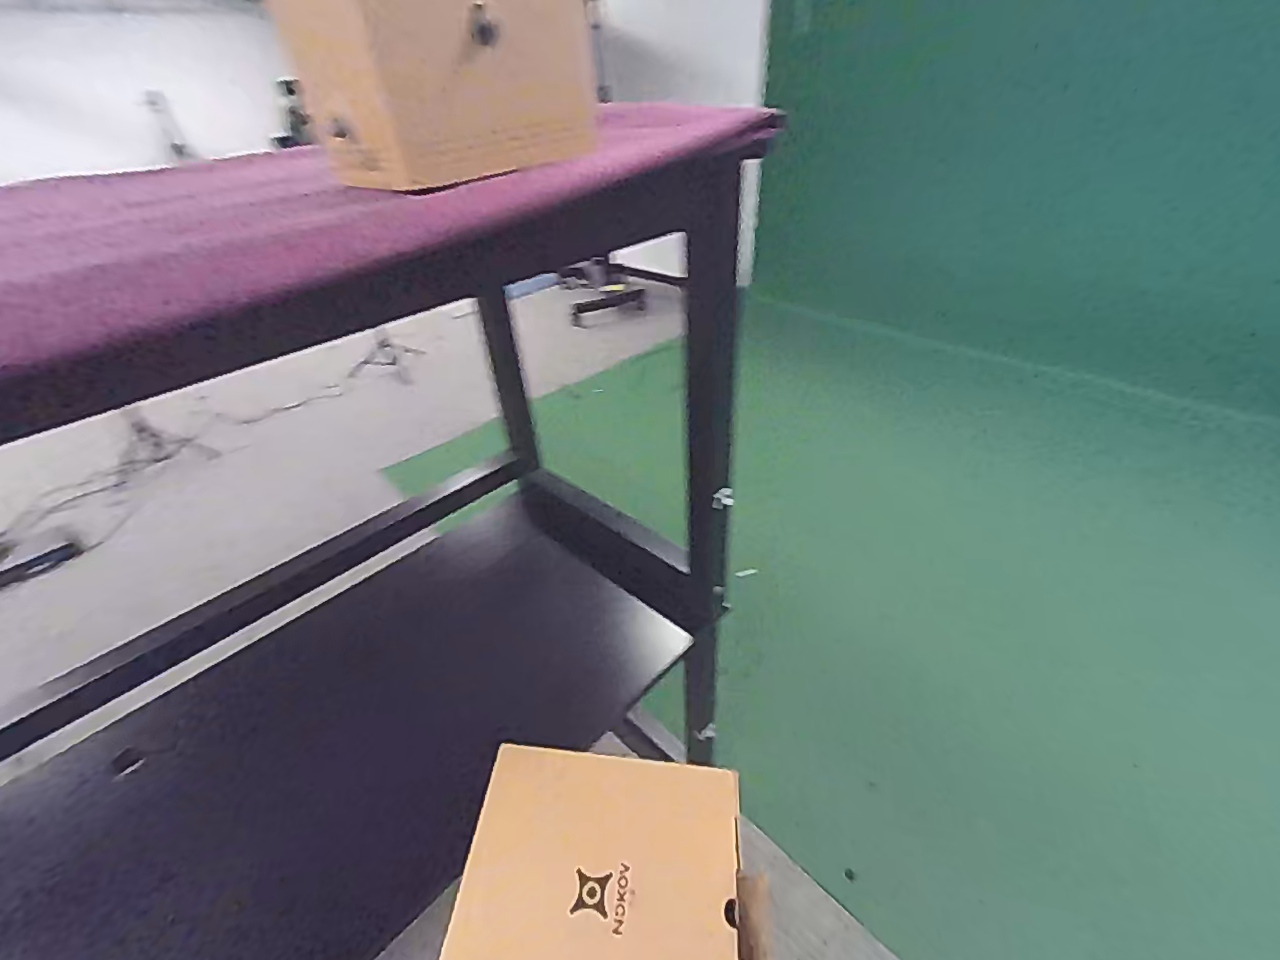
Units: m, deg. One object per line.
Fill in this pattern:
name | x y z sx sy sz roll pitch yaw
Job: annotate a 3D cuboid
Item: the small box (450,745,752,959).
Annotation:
small box | -0.019 0.316 0.385 0.179 0.176 0.168 5 42 5
